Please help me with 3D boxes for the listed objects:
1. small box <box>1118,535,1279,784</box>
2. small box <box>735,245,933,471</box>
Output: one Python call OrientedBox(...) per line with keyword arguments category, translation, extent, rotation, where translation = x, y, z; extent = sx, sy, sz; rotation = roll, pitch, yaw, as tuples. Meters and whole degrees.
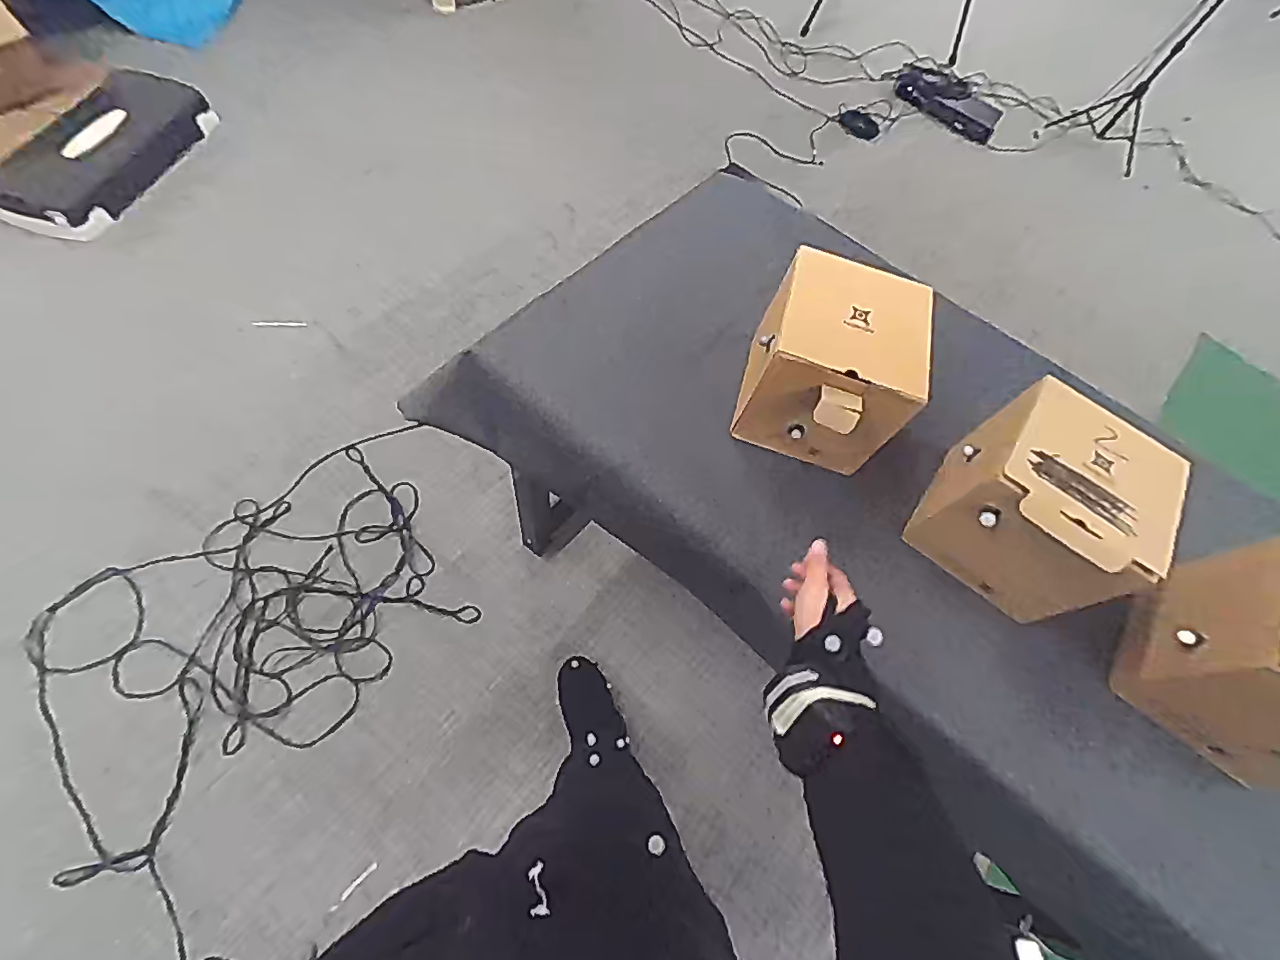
OrientedBox(category="small box", translation=(0.653, 0.190, 0.558), extent=(0.168, 0.176, 0.179), rotation=(38, 63, 10))
OrientedBox(category="small box", translation=(0.227, -0.140, 0.659), extent=(0.168, 0.176, 0.179), rotation=(18, 62, 0))
